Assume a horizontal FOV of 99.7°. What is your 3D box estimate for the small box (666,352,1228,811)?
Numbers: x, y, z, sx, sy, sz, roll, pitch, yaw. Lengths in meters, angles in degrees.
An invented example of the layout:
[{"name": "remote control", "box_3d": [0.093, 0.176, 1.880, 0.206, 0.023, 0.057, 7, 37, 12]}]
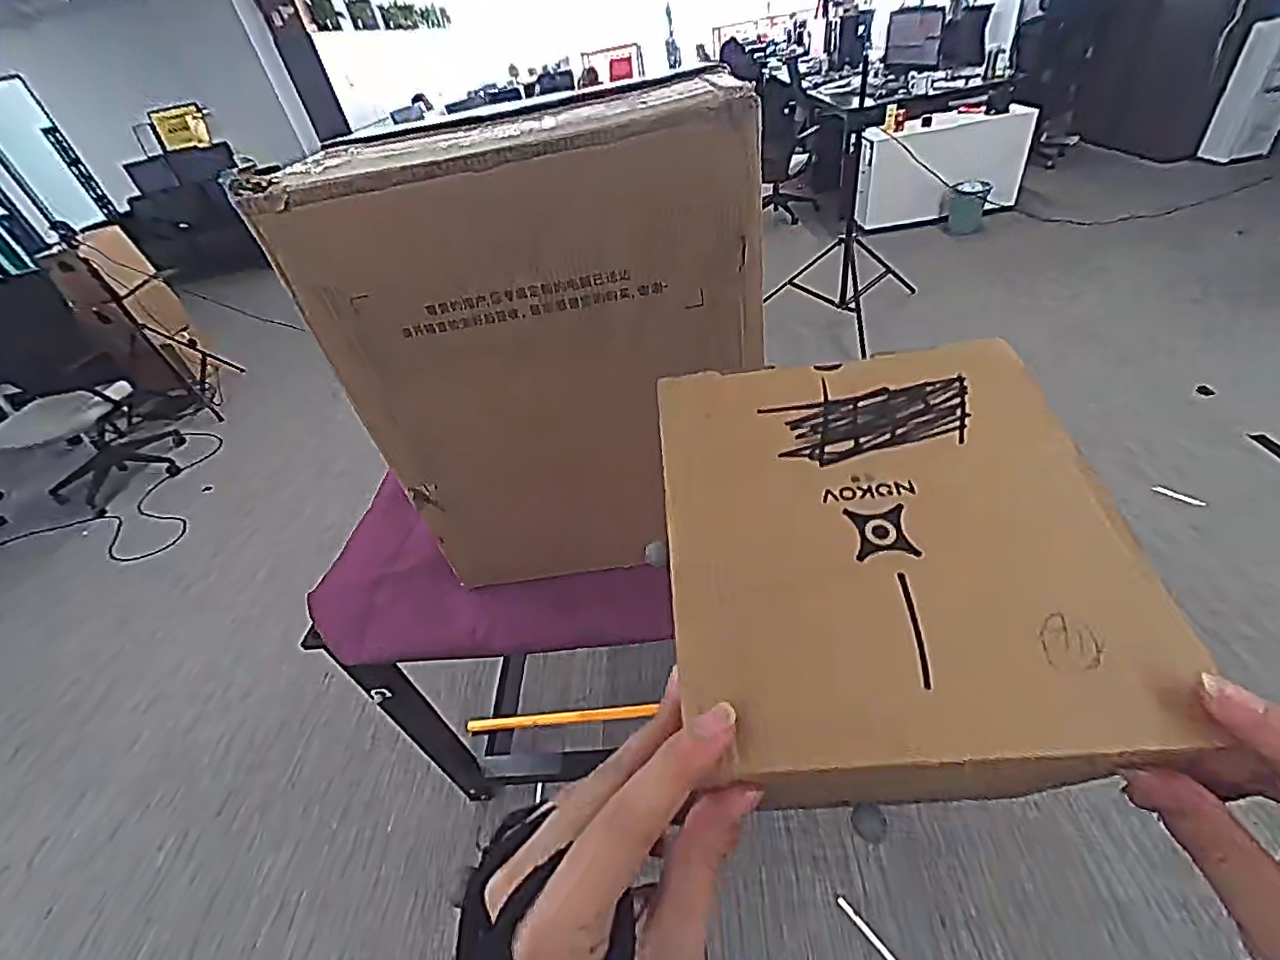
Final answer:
[{"name": "small box", "box_3d": [0.104, 0.062, 0.281, 0.168, 0.176, 0.179, -6, 55, 6]}]
